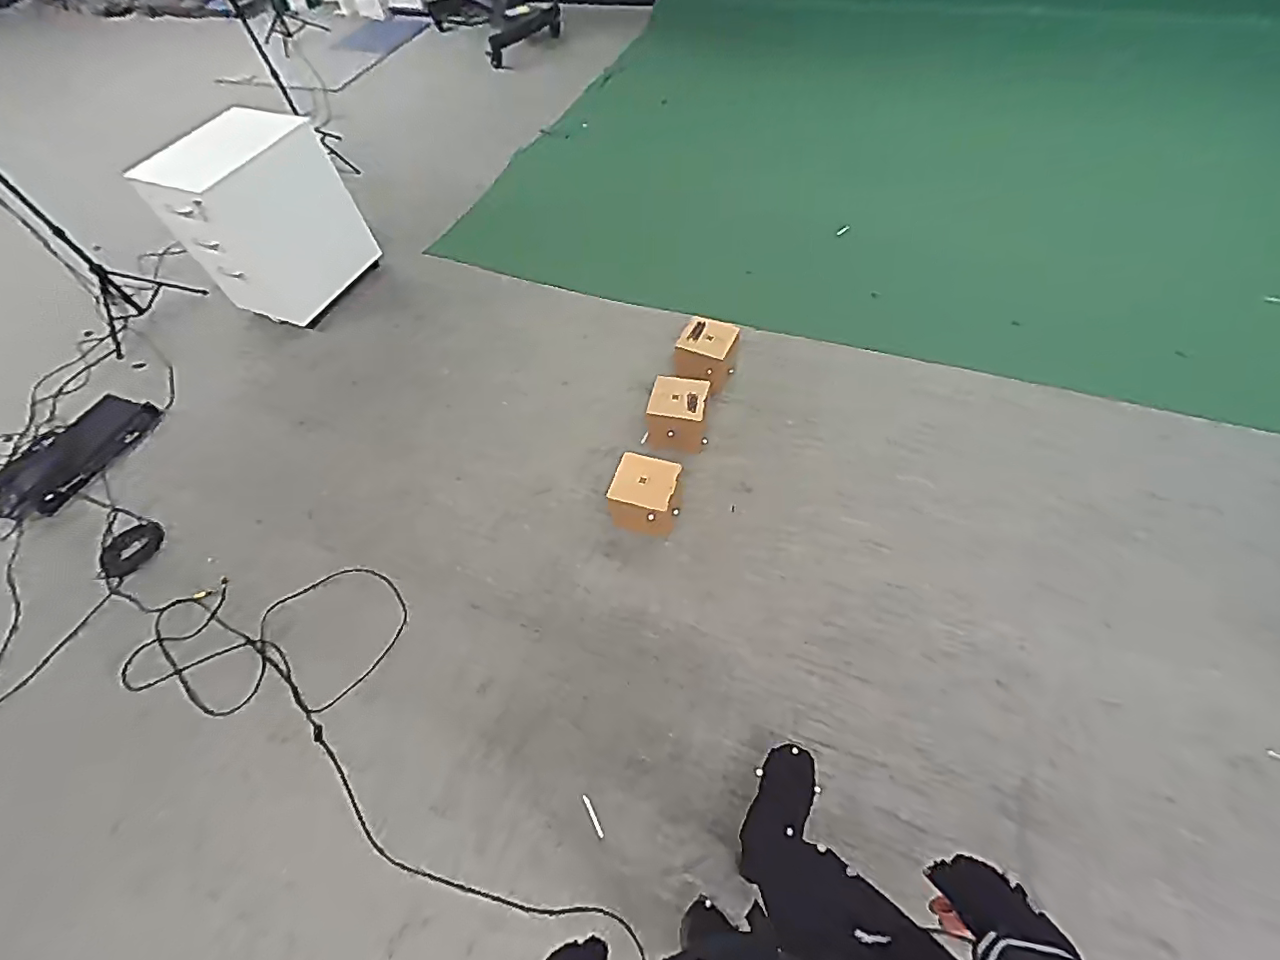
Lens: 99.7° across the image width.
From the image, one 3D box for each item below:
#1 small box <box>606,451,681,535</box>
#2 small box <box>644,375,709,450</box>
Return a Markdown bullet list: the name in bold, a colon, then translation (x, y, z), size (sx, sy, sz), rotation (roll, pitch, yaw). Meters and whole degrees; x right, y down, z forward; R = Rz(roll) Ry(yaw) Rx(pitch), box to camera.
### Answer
- **small box**: translation (0.017, 0.042, 1.589), size (0.179, 0.176, 0.168), rotation (13, 60, 13)
- **small box**: translation (0.121, -0.215, 1.746), size (0.179, 0.176, 0.168), rotation (9, 58, 12)
